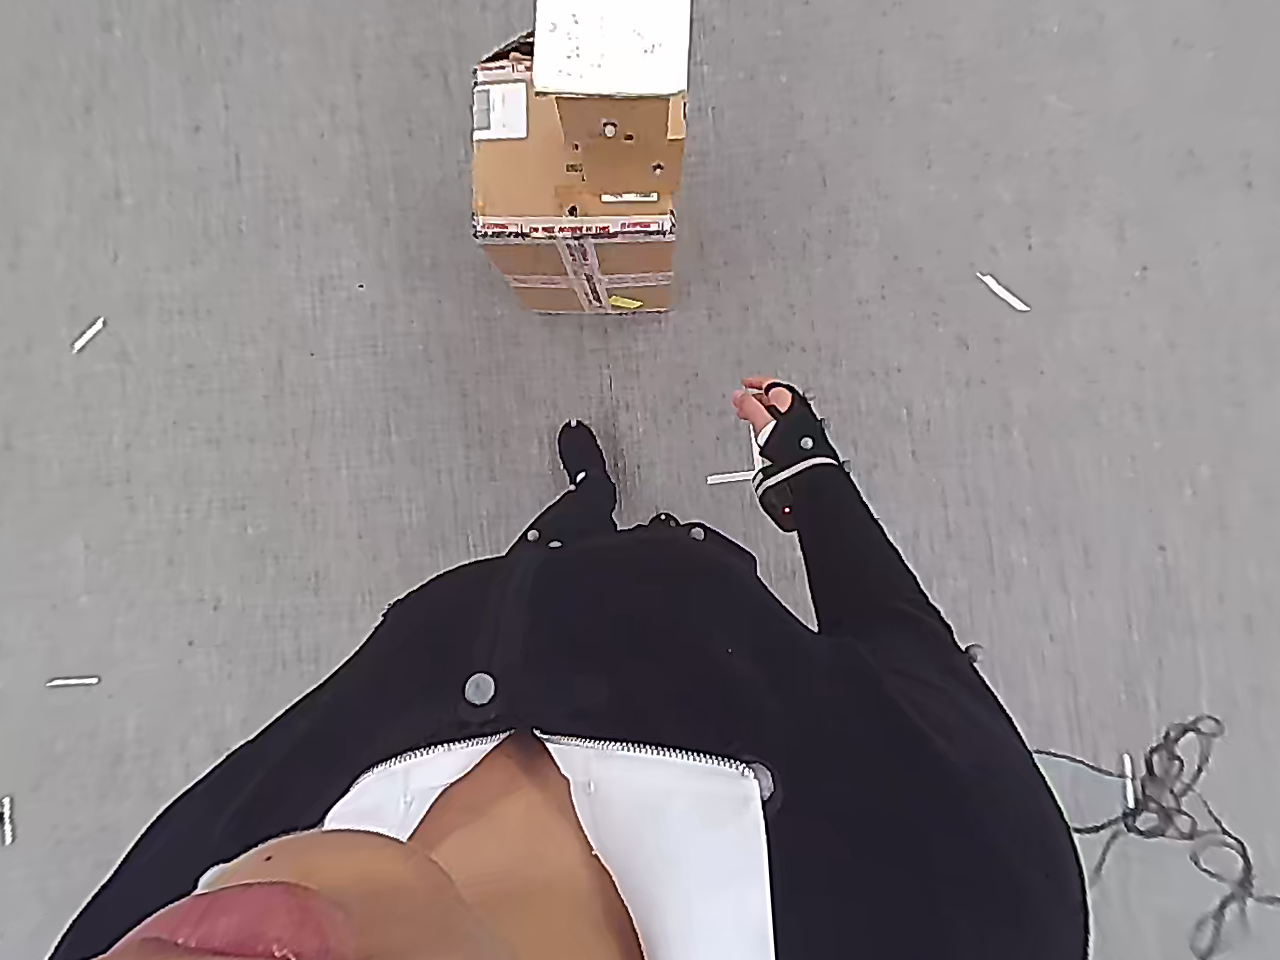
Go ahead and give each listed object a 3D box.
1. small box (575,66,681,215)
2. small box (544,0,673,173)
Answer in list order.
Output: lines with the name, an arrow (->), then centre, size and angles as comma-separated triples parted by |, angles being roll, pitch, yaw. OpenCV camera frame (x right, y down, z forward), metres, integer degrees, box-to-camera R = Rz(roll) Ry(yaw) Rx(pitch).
small box -> -0.021, -0.591, 0.960 | 0.179, 0.176, 0.168 | -1, 90, 1
small box -> -0.042, -0.589, 0.796 | 0.168, 0.176, 0.179 | 3, 91, 0
